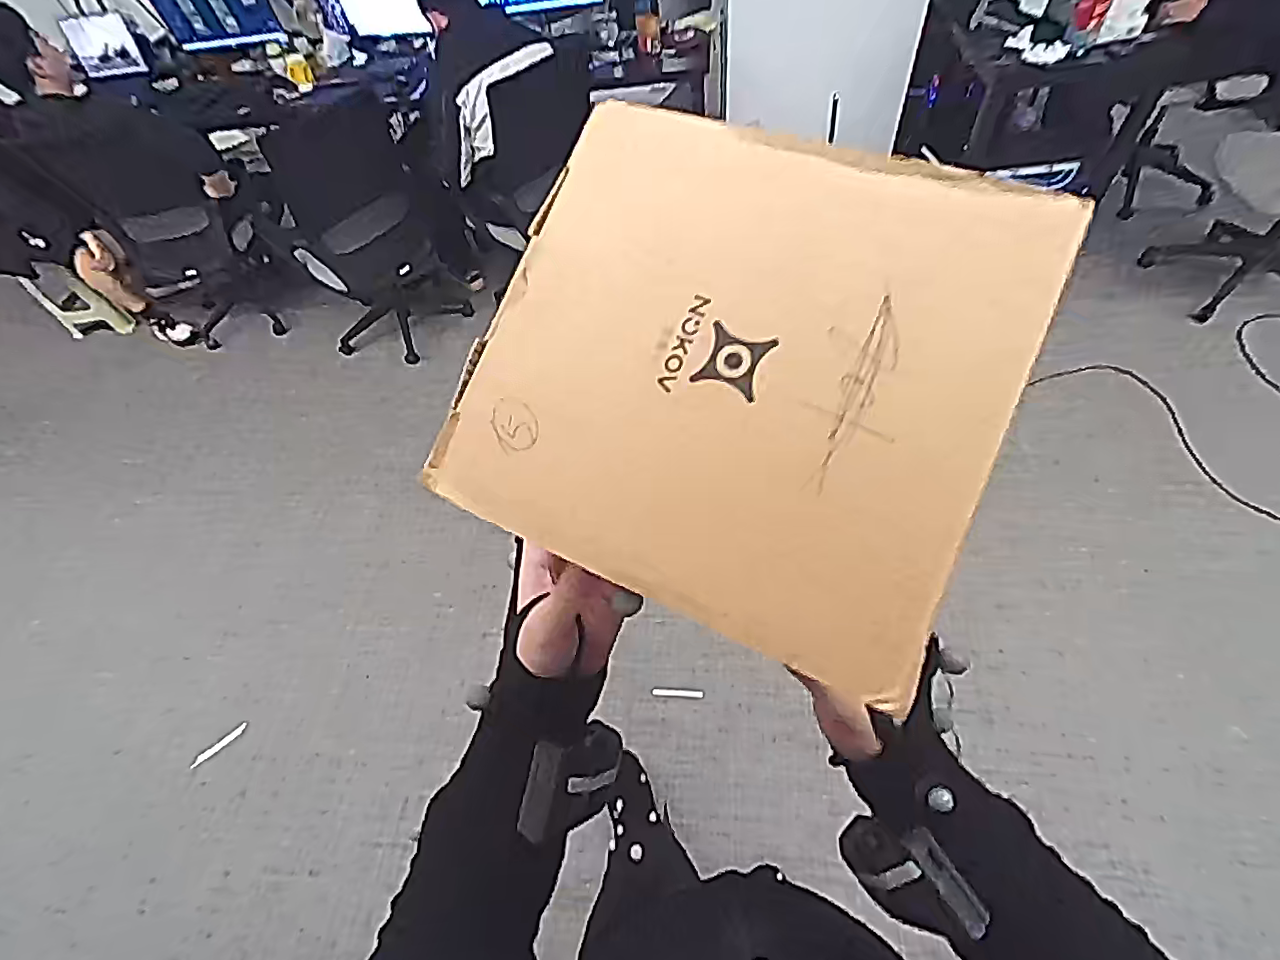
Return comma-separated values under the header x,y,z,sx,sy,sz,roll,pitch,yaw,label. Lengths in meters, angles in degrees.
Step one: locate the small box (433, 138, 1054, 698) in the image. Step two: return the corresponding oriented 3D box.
x,y,z,sx,sy,sz,roll,pitch,yaw,label
0.044,-0.022,0.270,0.179,0.176,0.168,22,86,15,small box
